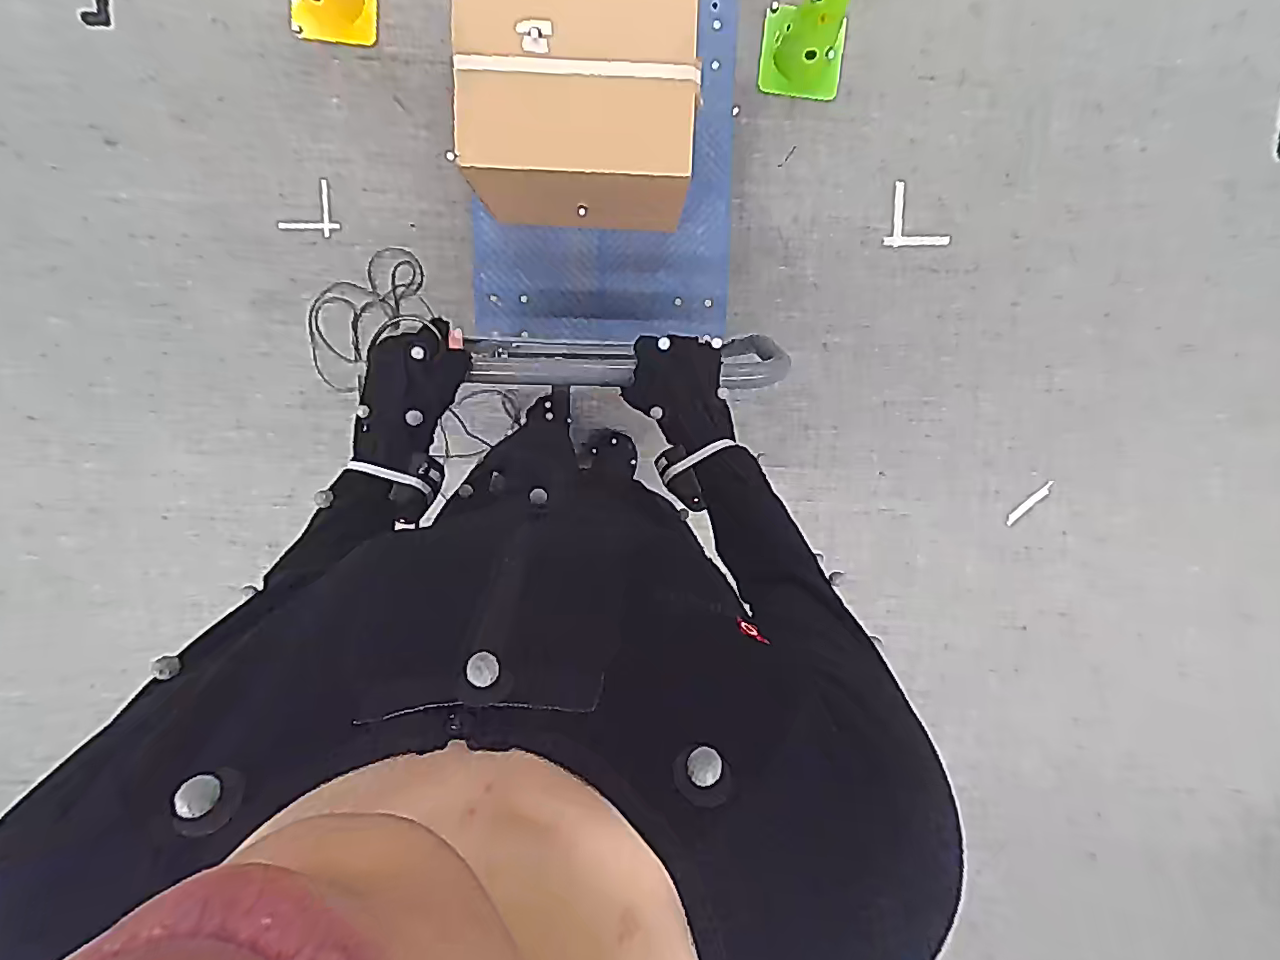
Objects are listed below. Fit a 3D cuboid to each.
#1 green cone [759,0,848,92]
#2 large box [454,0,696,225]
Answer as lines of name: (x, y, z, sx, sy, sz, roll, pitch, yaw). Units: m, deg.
green cone: (0.405, -1.044, 1.156, 0.202, 0.368, 0.200, 5, 98, -4)
large box: (-0.109, -0.703, 1.047, 0.408, 0.320, 0.320, 2, 98, -1)
